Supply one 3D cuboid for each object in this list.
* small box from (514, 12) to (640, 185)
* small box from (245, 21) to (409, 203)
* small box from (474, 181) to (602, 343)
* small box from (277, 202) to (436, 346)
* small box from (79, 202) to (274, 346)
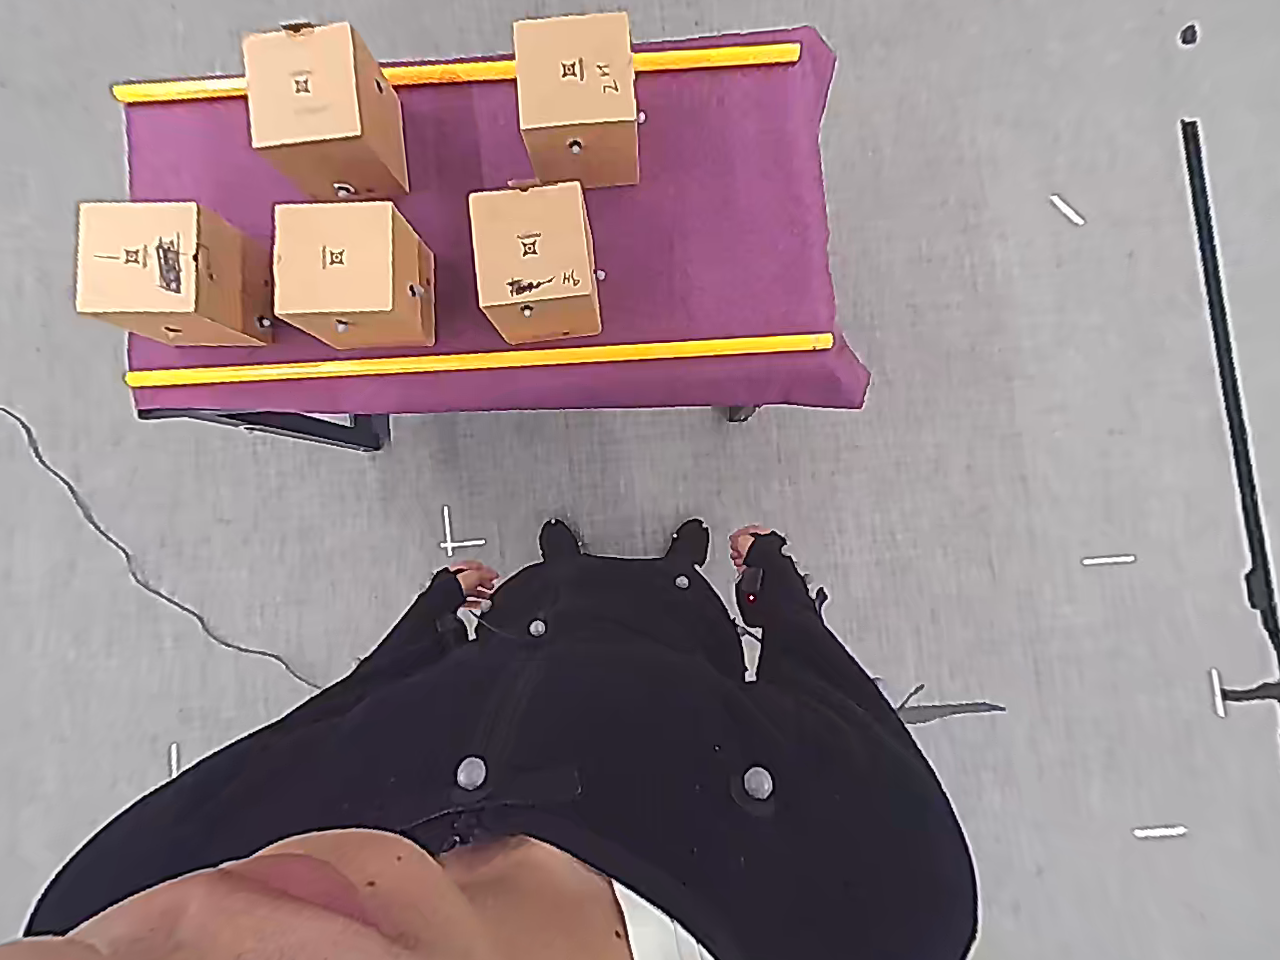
[{"bbox_3d":[-0.093,-0.599,0.873,0.179,0.176,0.168,-4,89,1],"label":"small box"},{"bbox_3d":[-0.495,-0.583,0.877,0.168,0.176,0.179,-7,88,1],"label":"small box"},{"bbox_3d":[-0.154,-0.337,0.861,0.168,0.176,0.179,-6,85,1],"label":"small box"},{"bbox_3d":[-0.440,-0.319,0.864,0.179,0.176,0.168,-2,87,1],"label":"small box"},{"bbox_3d":[-0.723,-0.319,0.863,0.179,0.176,0.168,0,87,0],"label":"small box"}]
